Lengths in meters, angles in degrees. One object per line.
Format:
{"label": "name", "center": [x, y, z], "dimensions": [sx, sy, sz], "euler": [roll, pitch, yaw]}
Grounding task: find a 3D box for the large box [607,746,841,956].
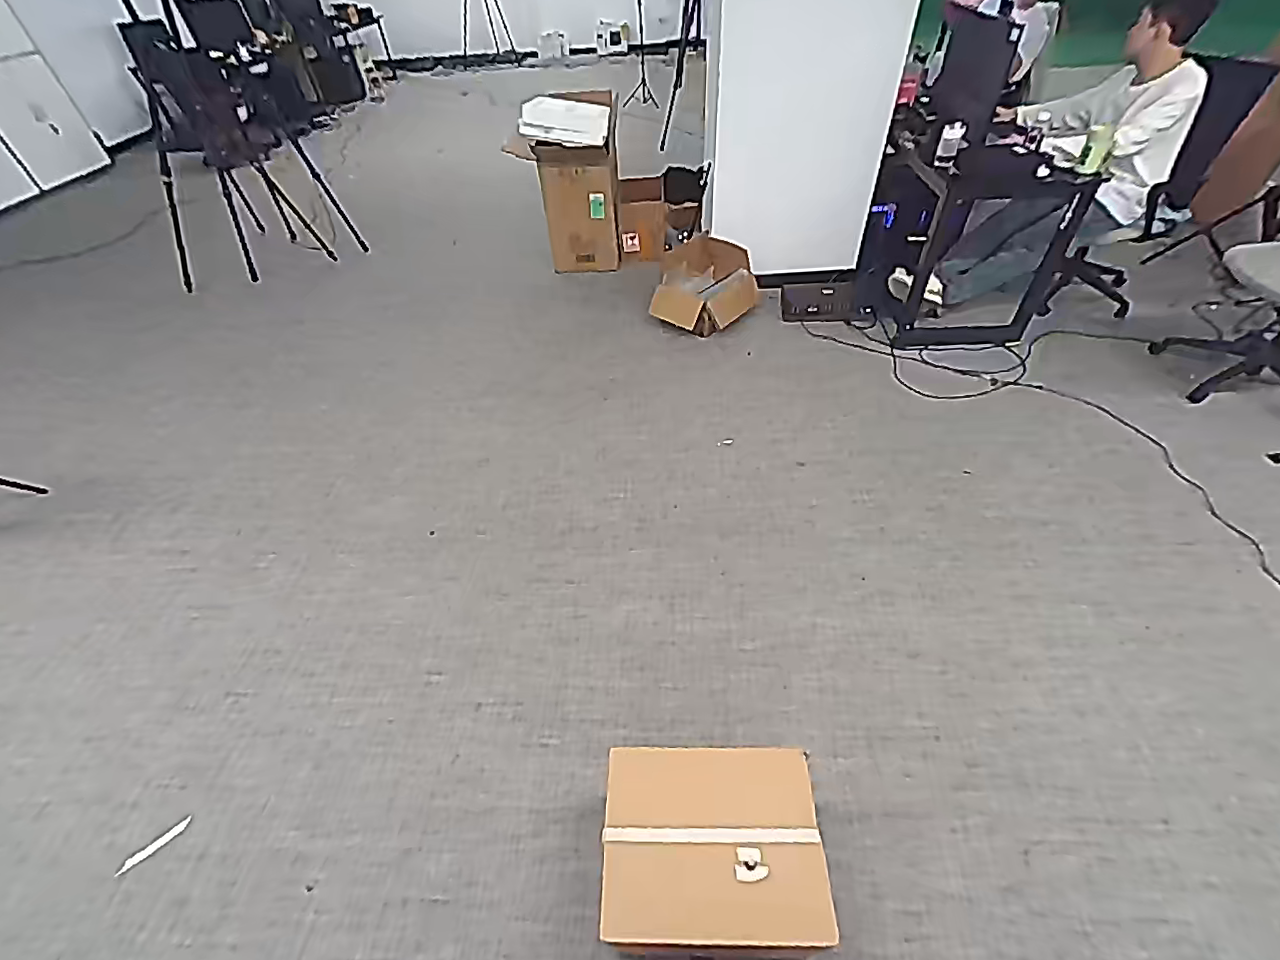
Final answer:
{"label": "large box", "center": [0.145, 0.769, 1.120], "dimensions": [0.408, 0.320, 0.320], "euler": [-1, 46, 2]}
